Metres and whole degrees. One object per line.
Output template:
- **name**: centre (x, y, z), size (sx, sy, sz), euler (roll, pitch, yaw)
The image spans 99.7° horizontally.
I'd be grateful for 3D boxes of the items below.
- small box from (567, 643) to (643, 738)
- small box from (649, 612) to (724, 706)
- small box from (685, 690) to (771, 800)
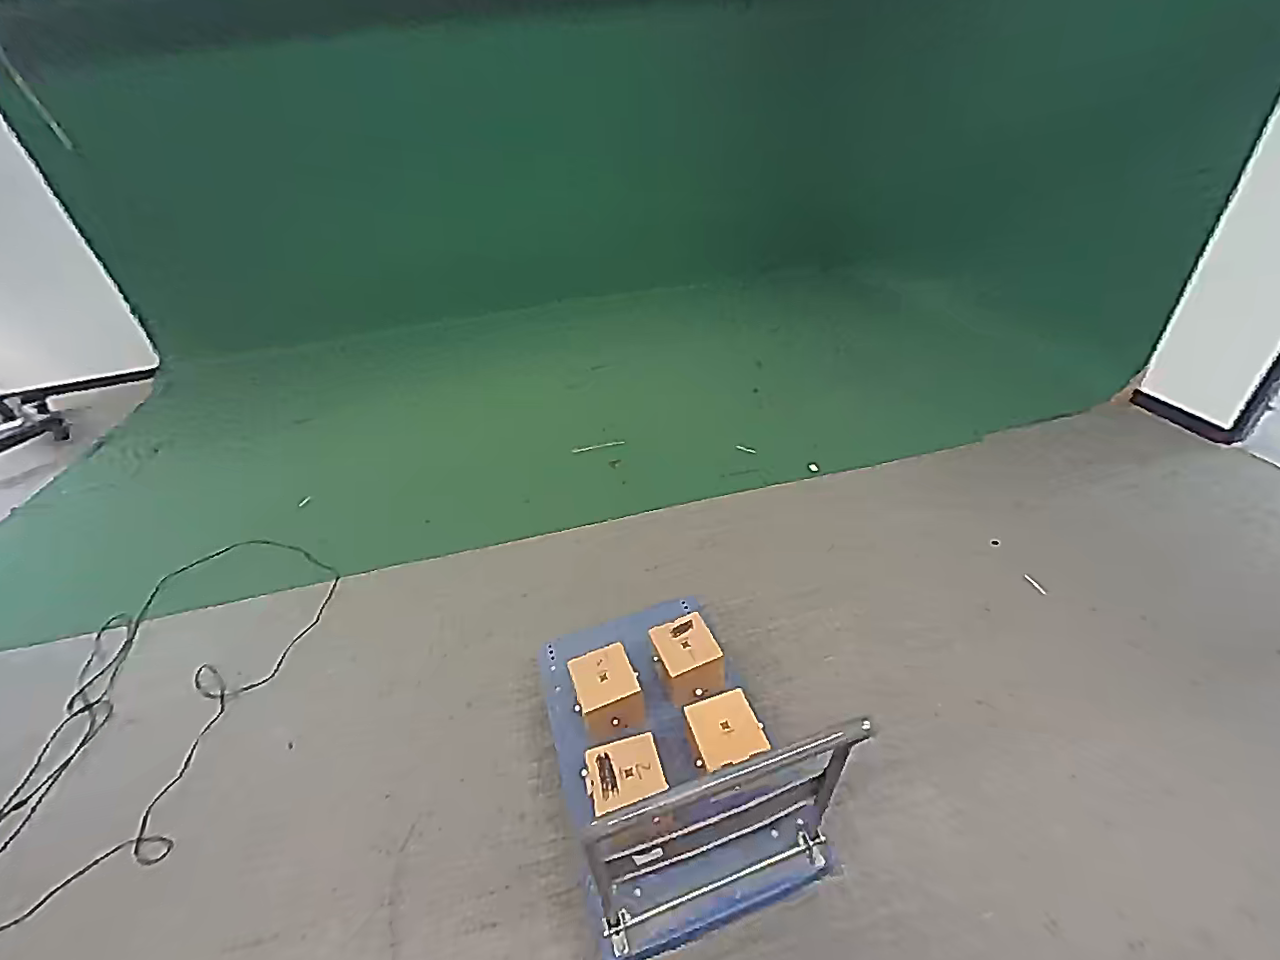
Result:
- **small box**: centre (-0.097, 0.609, 1.550), size (0.168, 0.176, 0.179), euler (-16, 38, -14)
- **small box**: centre (0.137, 0.535, 1.613), size (0.168, 0.176, 0.179), euler (-18, 40, -14)
- **small box**: centre (0.221, 0.687, 1.405), size (0.168, 0.176, 0.179), euler (-14, 38, -11)
